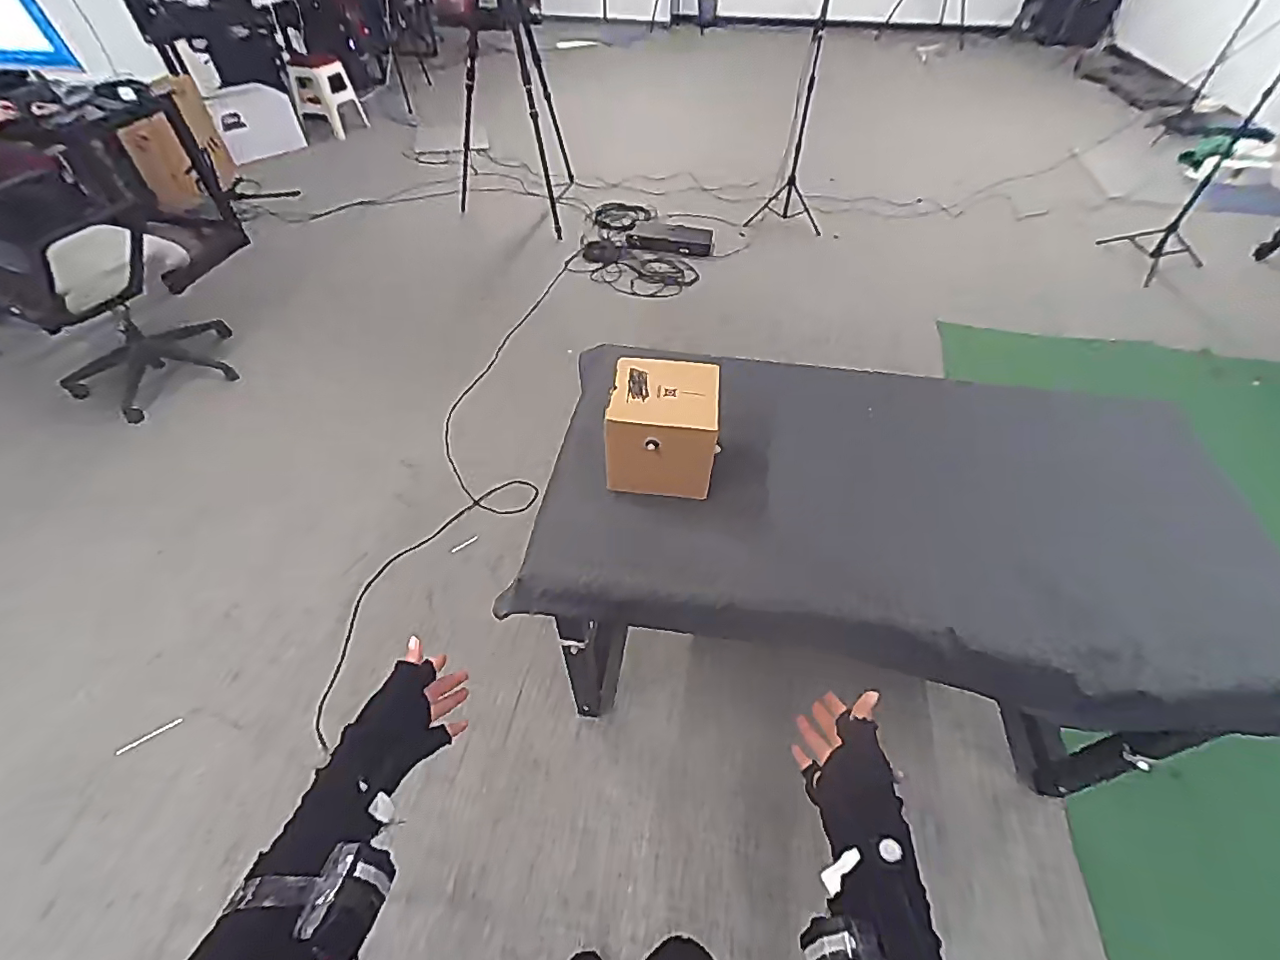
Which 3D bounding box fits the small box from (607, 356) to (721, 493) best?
[{"bbox_3d":[0.043,-0.093,0.941,0.179,0.176,0.168,6,49,3],"label":"small box"}]
